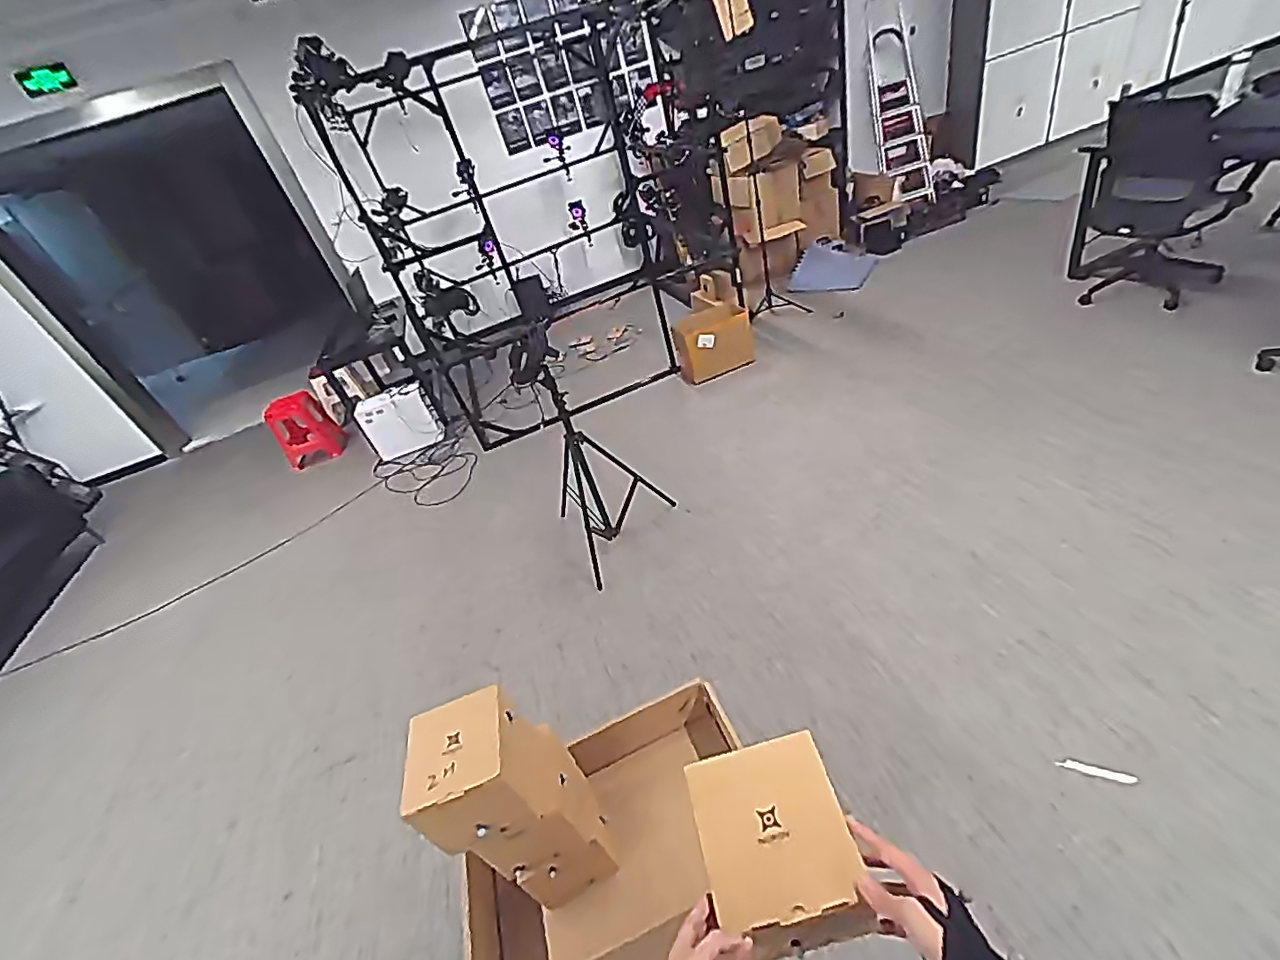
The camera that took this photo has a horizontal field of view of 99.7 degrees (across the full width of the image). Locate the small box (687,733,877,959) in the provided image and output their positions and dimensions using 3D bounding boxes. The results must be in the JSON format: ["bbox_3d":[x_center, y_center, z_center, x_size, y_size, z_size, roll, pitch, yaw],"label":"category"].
[{"bbox_3d":[0.167,0.450,0.663,0.168,0.176,0.179,-17,40,1],"label":"small box"}]

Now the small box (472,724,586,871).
[{"bbox_3d":[-0.216,0.618,1.045,0.168,0.176,0.179,-21,35,-4],"label":"small box"}]

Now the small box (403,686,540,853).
[{"bbox_3d":[-0.287,0.504,0.945,0.168,0.176,0.179,-21,36,-3],"label":"small box"}]

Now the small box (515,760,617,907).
[{"bbox_3d":[-0.167,0.744,1.140,0.168,0.176,0.179,-26,36,-9],"label":"small box"}]
